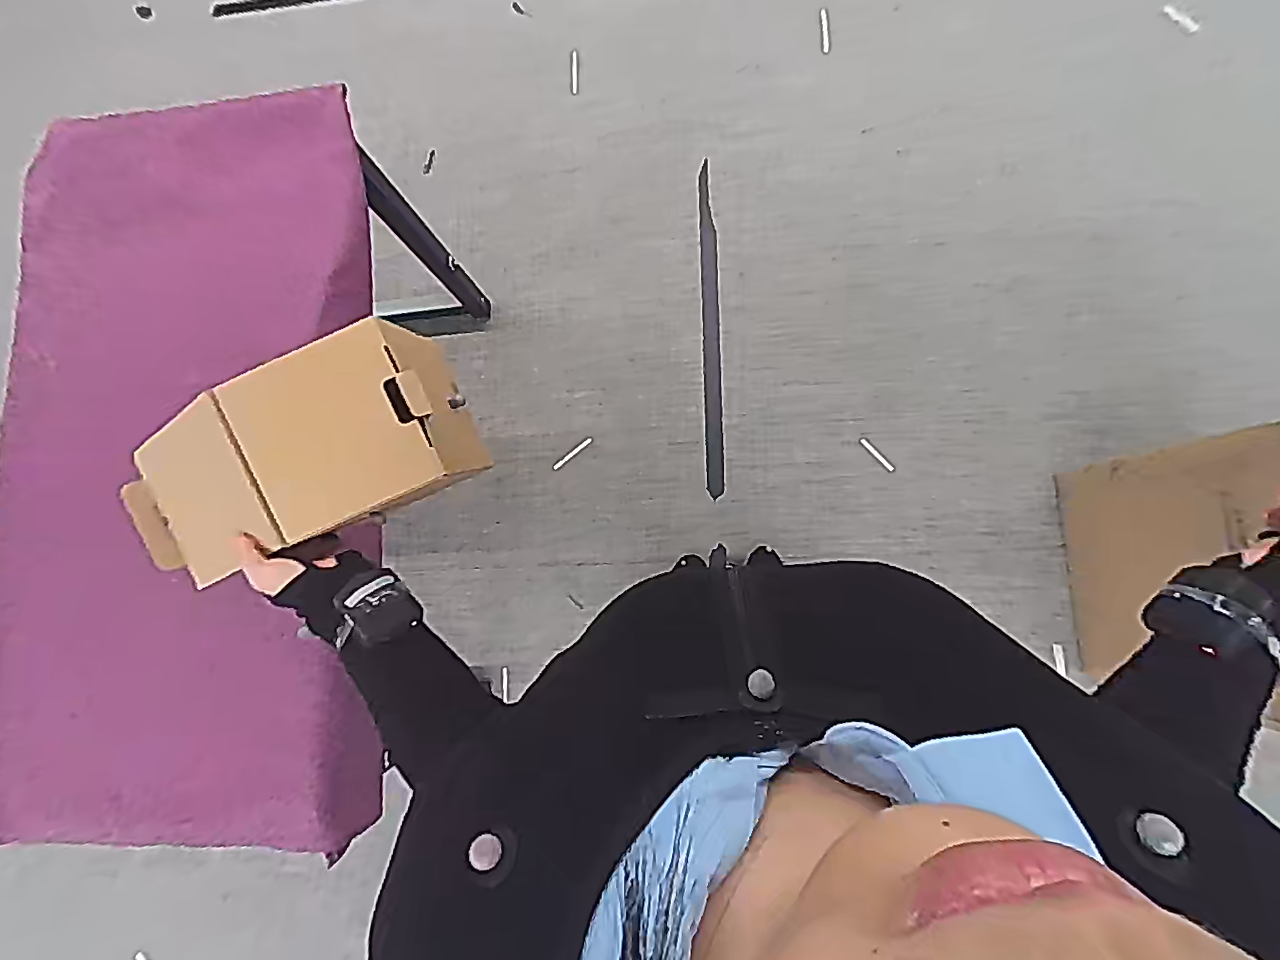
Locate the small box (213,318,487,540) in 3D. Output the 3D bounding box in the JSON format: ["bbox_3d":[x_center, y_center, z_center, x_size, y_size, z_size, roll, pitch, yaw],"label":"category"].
[{"bbox_3d":[-0.298,-0.052,0.596,0.179,0.176,0.168,-24,94,1],"label":"small box"}]
